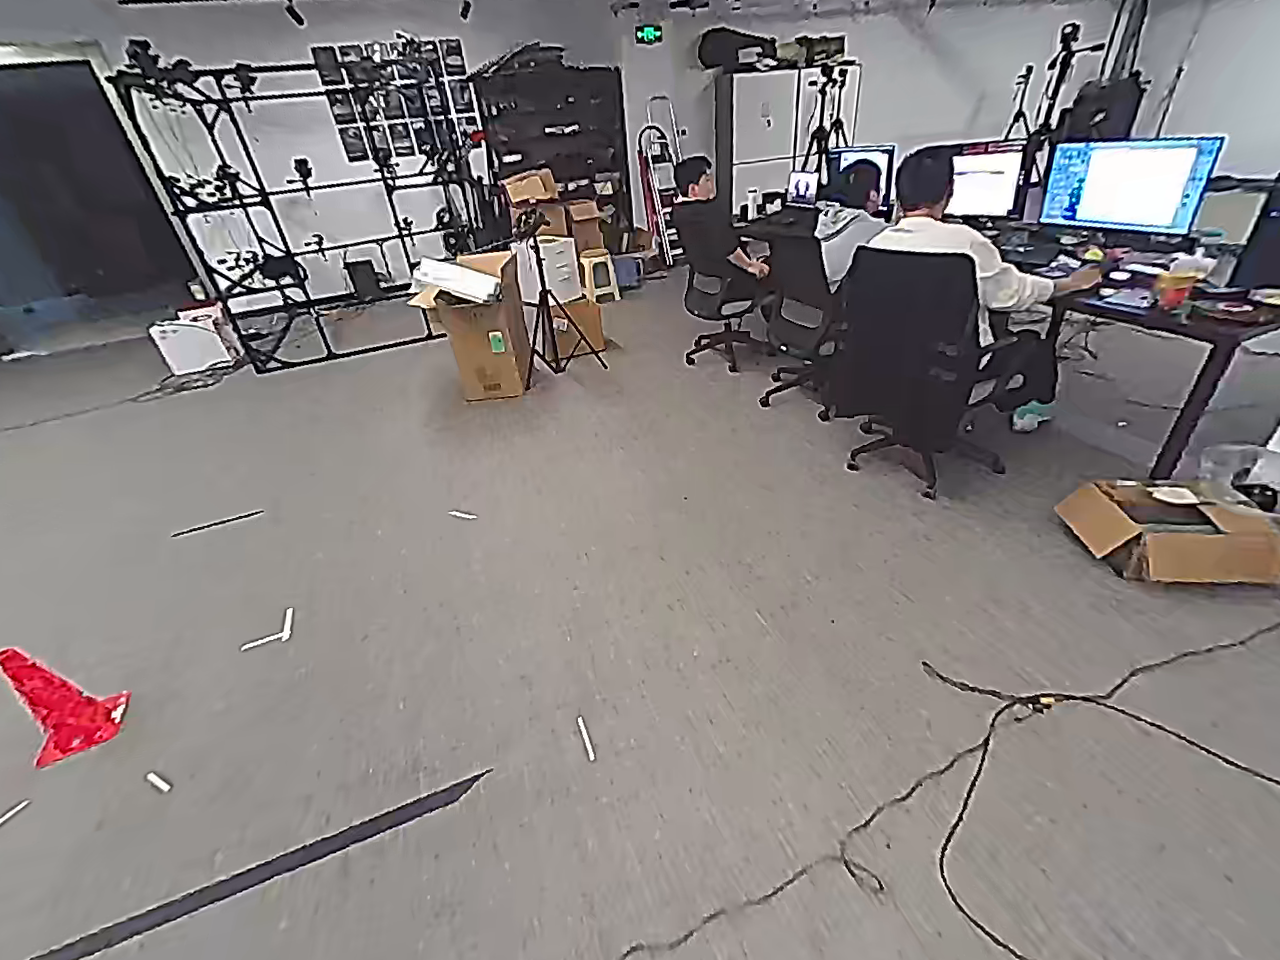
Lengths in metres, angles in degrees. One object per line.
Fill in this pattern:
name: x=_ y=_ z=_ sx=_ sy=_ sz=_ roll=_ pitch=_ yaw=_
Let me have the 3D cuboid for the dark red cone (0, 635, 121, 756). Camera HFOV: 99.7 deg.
dark red cone: x=-1.759 y=0.600 z=1.583 sx=0.202 sy=0.394 sz=0.201 roll=-21 pitch=36 yaw=-22
